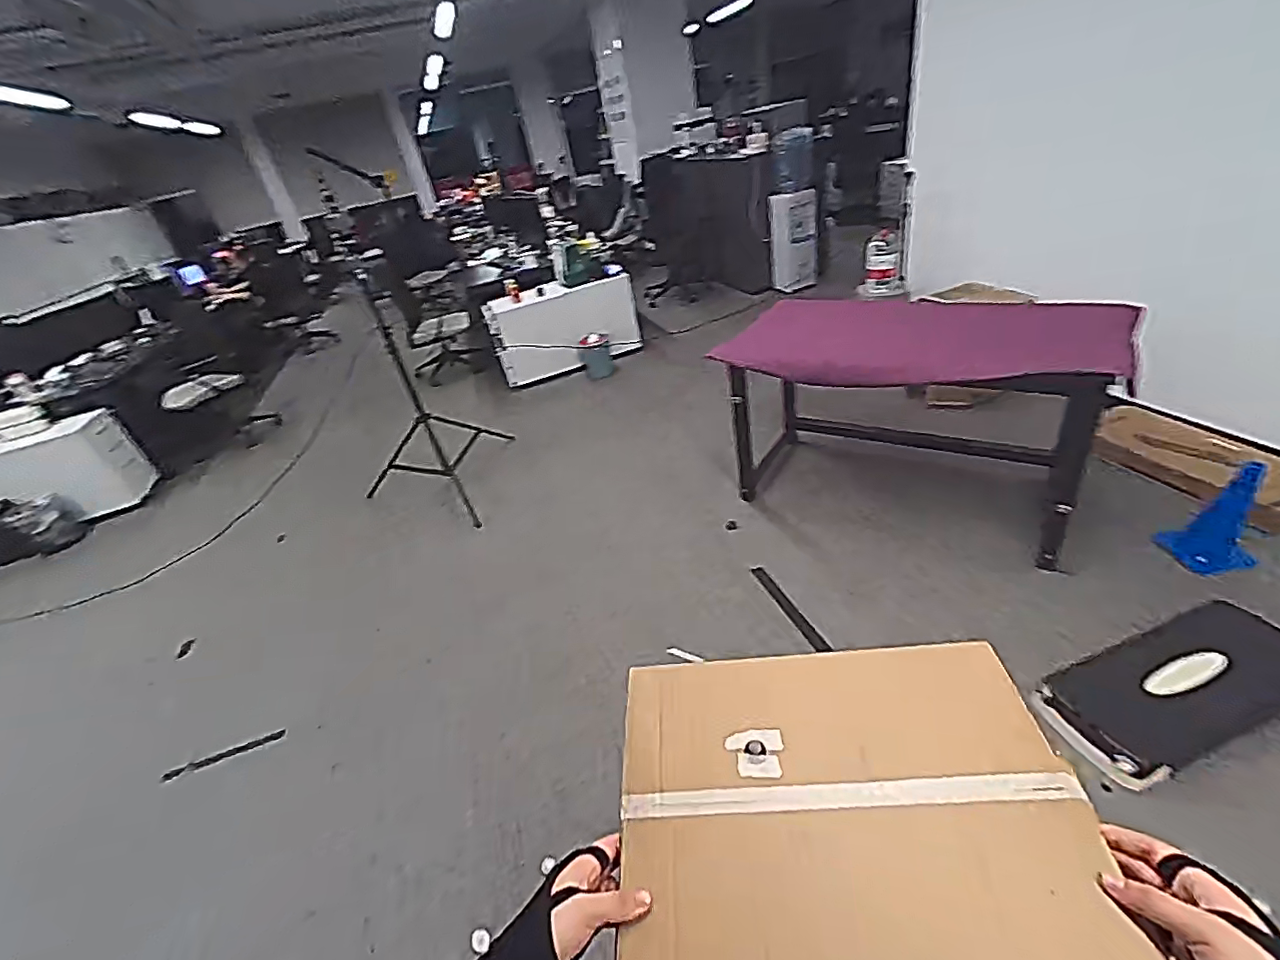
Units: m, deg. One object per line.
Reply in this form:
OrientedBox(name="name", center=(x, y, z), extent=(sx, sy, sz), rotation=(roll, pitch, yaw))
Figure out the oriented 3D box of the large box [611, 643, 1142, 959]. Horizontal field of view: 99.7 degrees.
OrientedBox(name="large box", center=(0.201, 0.421, 0.598), extent=(0.408, 0.320, 0.320), rotation=(-8, 36, 8))
